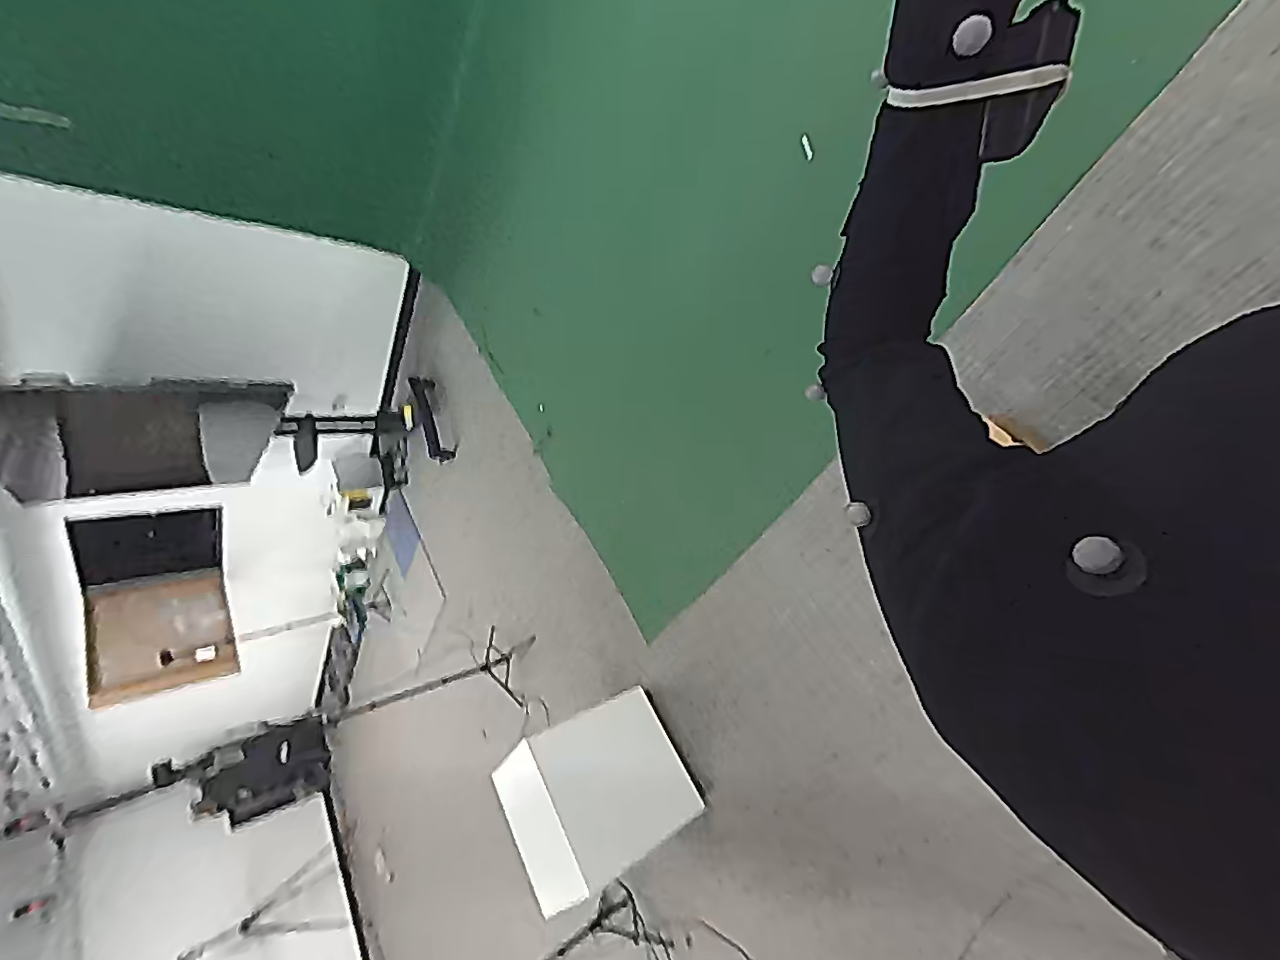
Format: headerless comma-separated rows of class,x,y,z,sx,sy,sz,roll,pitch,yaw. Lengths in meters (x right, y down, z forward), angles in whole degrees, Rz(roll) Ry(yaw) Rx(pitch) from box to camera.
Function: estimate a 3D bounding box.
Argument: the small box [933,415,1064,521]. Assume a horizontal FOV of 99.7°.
small box,0.821,-0.032,1.233,0.168,0.176,0.179,53,130,30
